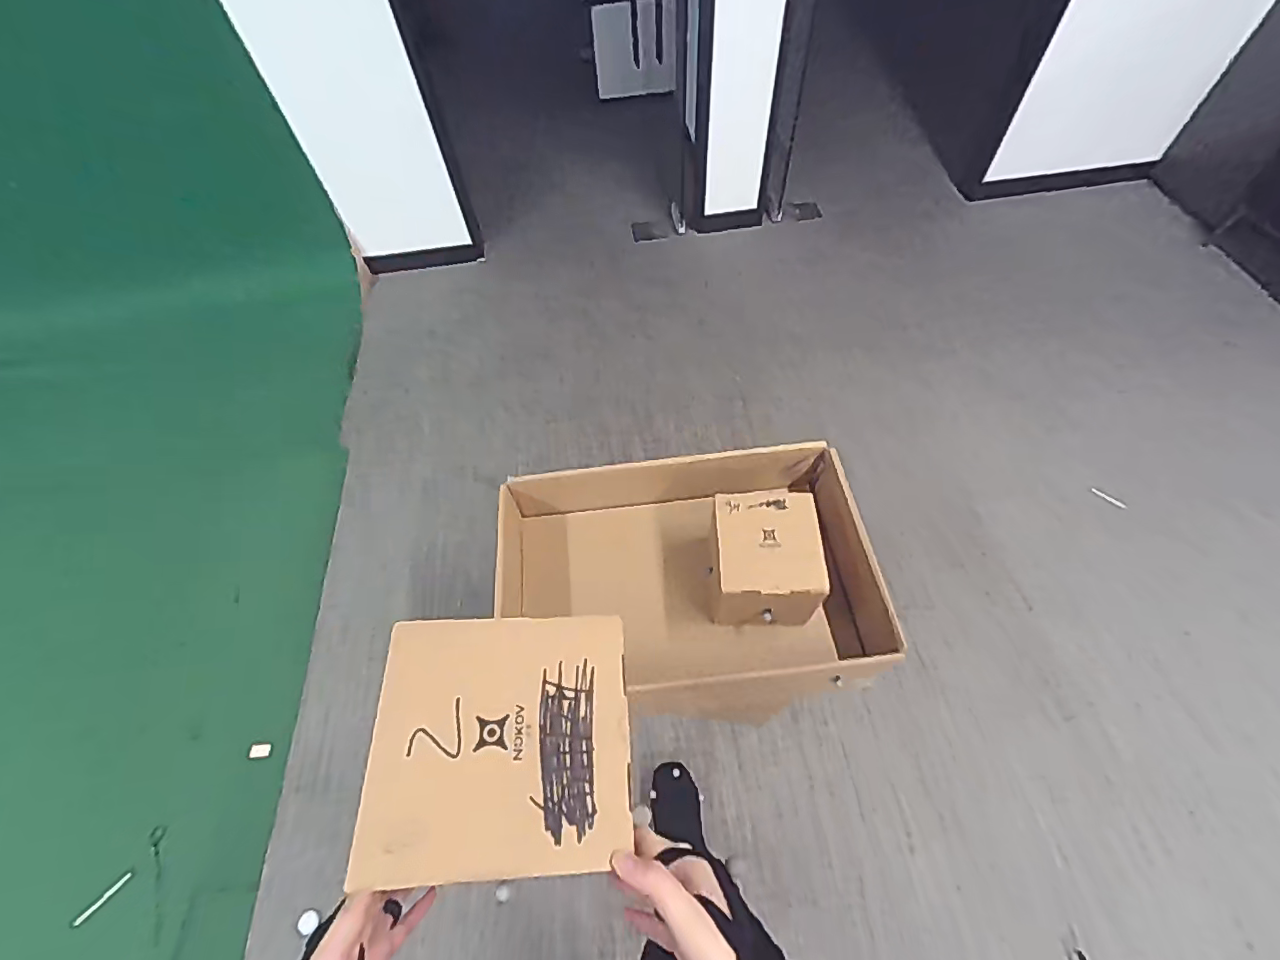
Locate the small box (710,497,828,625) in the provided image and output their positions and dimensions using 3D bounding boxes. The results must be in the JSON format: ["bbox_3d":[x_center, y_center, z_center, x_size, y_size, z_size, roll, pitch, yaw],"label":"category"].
[{"bbox_3d":[0.210,0.145,0.930,0.168,0.176,0.179,0,59,2],"label":"small box"}]
